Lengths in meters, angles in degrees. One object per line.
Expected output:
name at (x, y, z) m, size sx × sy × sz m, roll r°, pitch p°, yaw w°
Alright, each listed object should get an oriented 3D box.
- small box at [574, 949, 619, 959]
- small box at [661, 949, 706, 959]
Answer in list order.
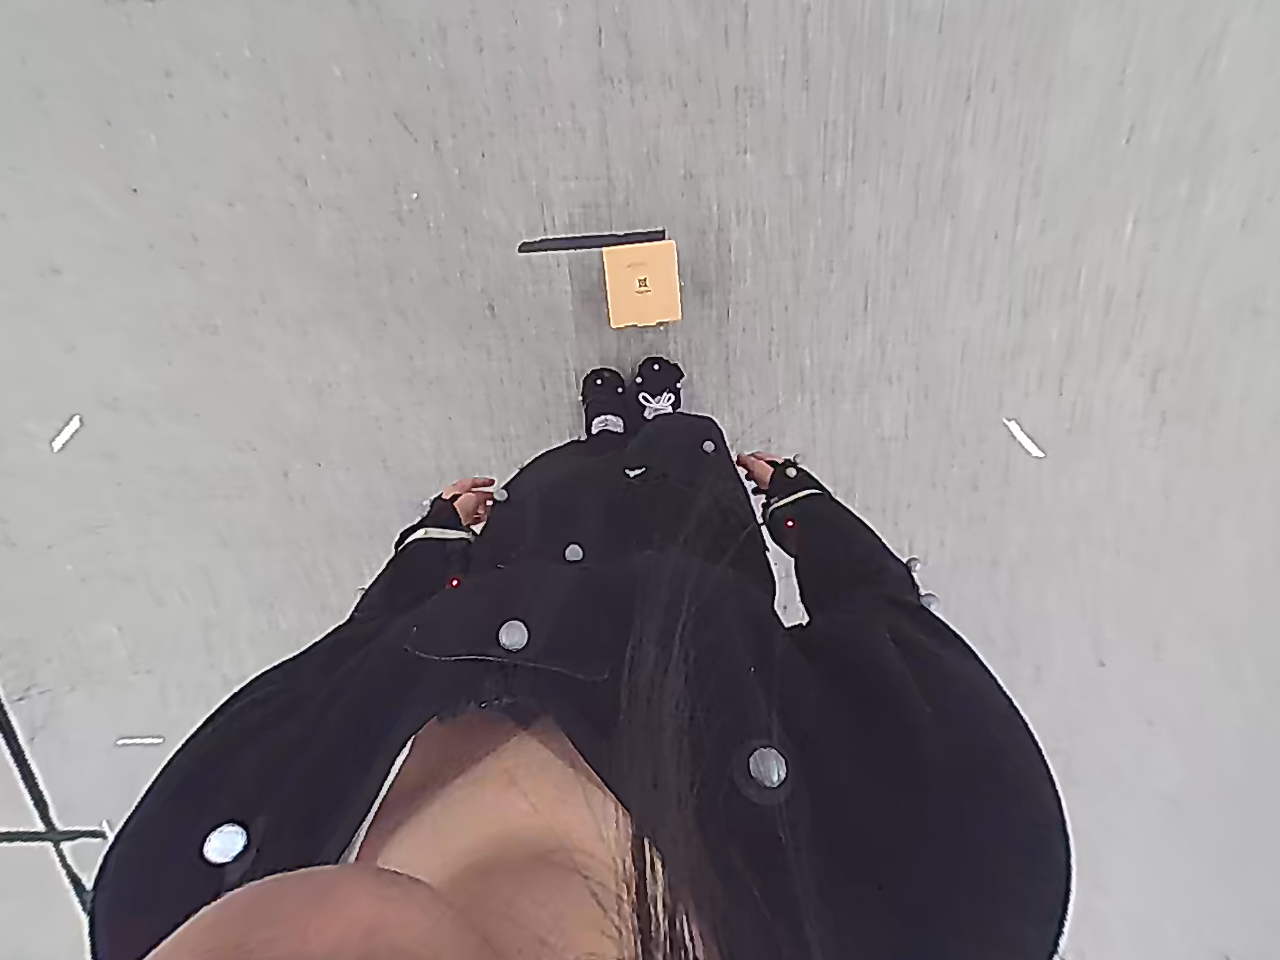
small box at (-0.157, 1.826, 1.925) m, size 0.168 × 0.176 × 0.179 m, roll -3°, pitch 105°, yaw 1°
small box at (0.160, 1.822, 1.923) m, size 0.168 × 0.176 × 0.179 m, roll -1°, pitch 107°, yaw 1°
